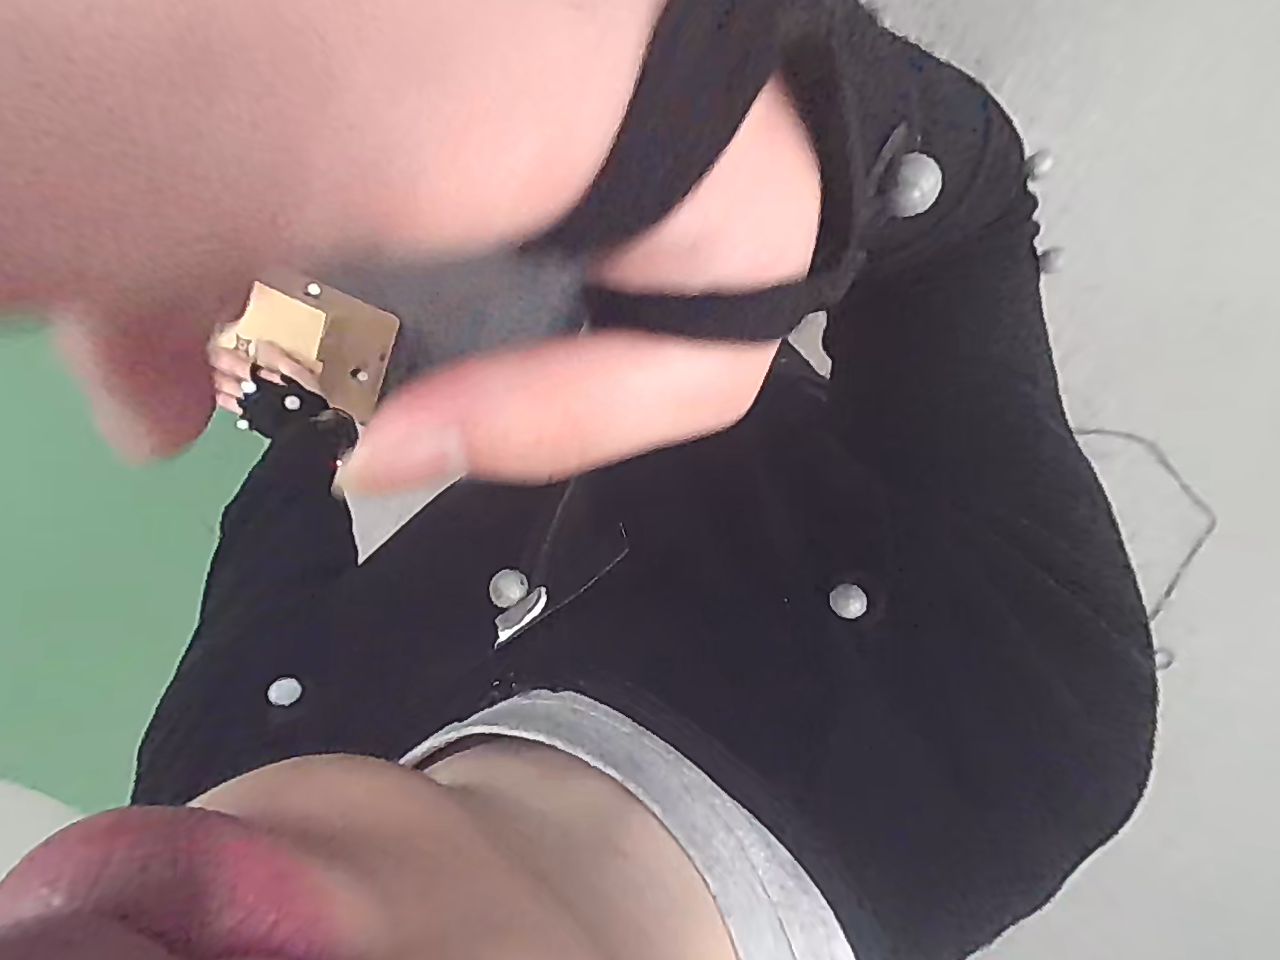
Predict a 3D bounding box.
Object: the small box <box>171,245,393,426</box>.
[{"bbox_3d":[-0.472,-0.194,0.736,0.179,0.176,0.168,24,105,-2],"label":"small box"}]
